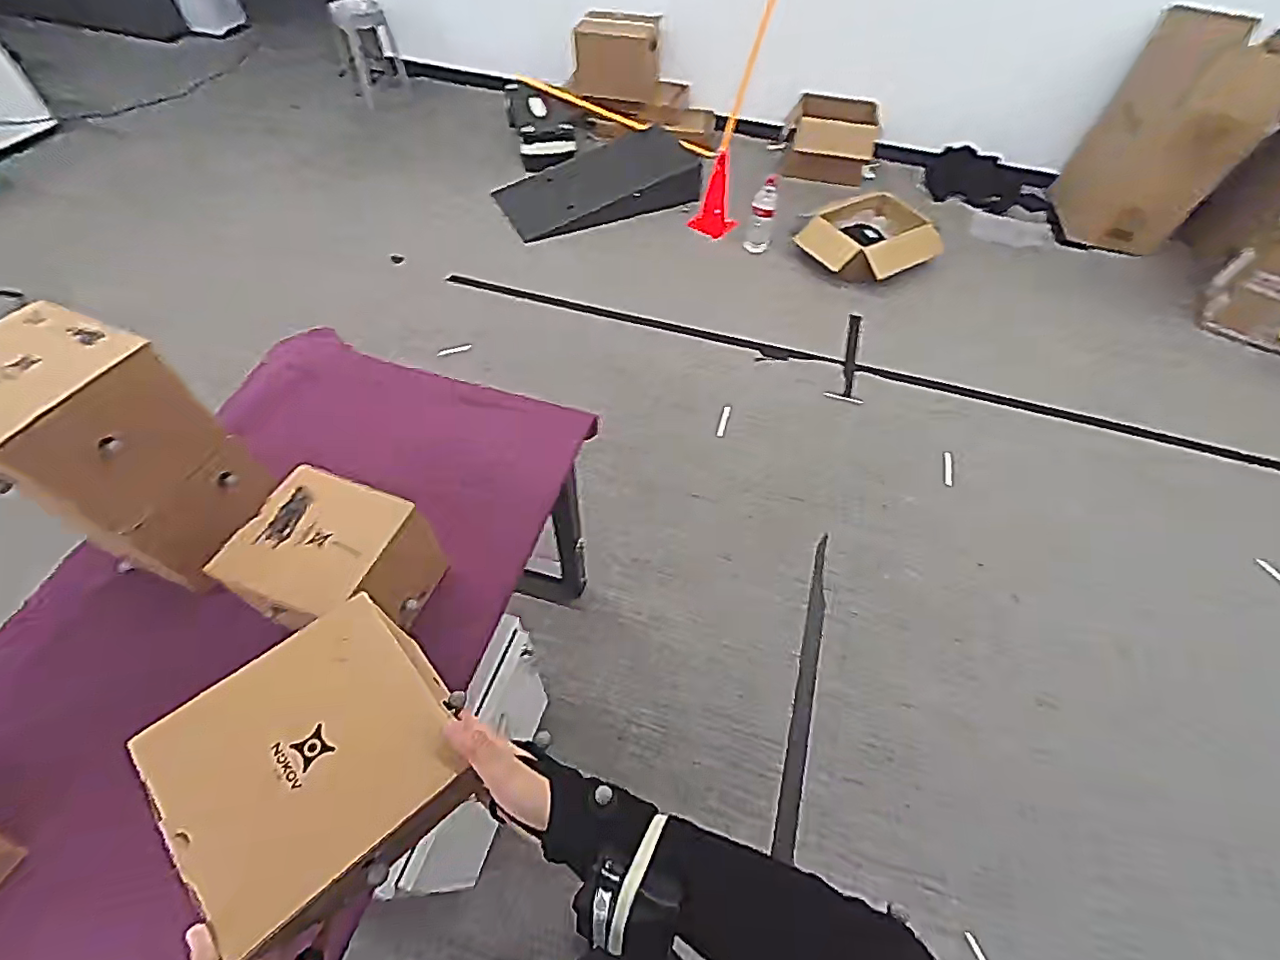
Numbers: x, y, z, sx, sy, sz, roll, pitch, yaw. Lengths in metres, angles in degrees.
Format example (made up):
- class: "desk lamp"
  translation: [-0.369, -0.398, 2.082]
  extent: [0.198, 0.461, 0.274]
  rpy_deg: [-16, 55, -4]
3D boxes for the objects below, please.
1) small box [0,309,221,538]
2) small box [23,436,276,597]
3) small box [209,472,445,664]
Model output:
- class: "small box"
  translation: [-0.651, -0.060, 0.626]
  extent: [0.168, 0.176, 0.179]
  rpy_deg: [20, 57, 9]
- class: "small box"
  translation: [-0.657, 0.034, 0.760]
  extent: [0.168, 0.176, 0.179]
  rpy_deg: [18, 56, 9]
- class: "small box"
  translation: [-0.390, 0.121, 0.711]
  extent: [0.179, 0.176, 0.168]
  rpy_deg: [17, 56, 10]
